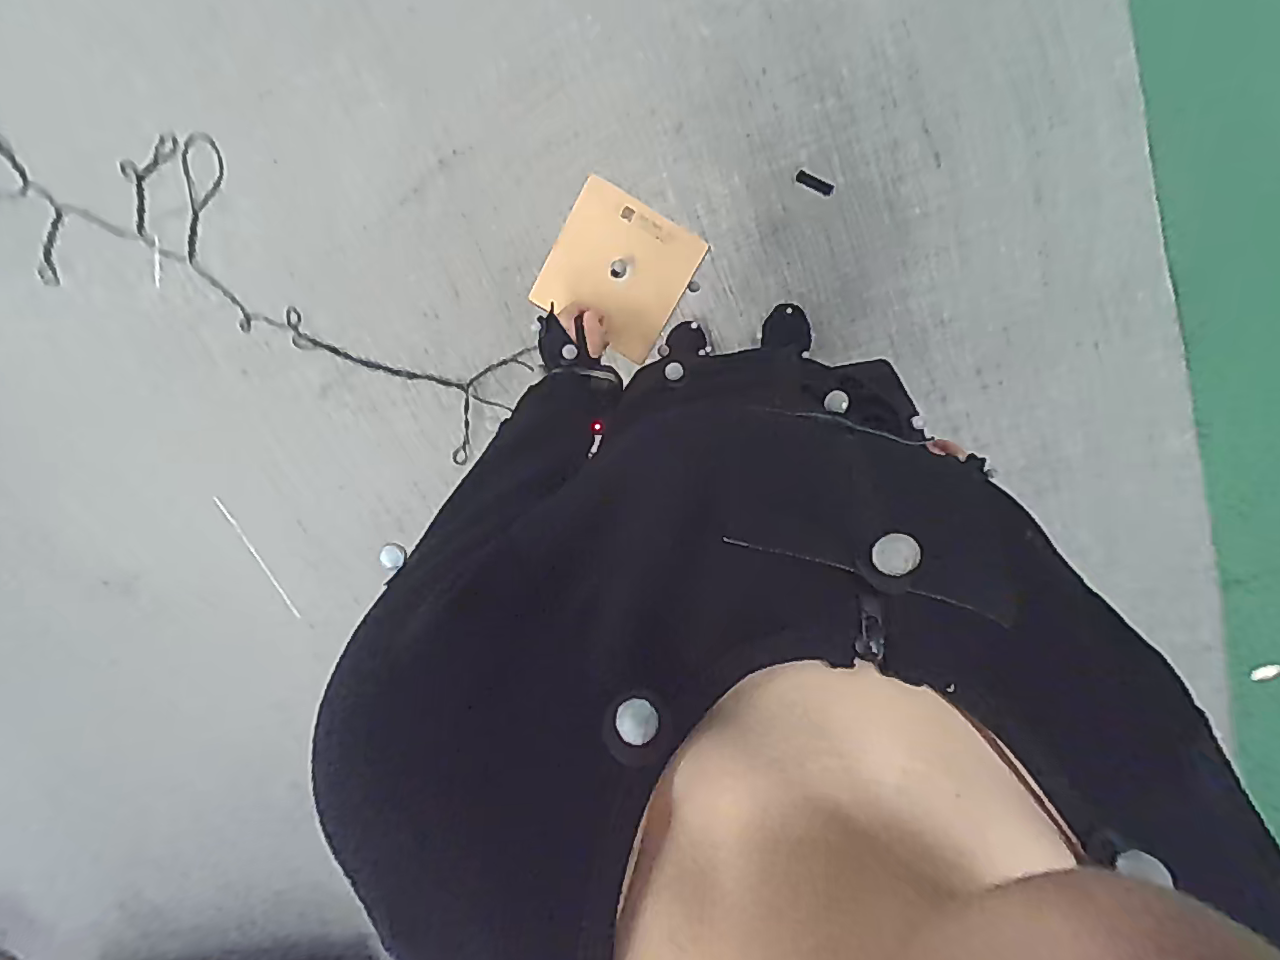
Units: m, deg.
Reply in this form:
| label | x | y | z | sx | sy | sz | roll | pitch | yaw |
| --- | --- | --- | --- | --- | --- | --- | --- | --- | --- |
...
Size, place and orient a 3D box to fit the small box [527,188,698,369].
| label | x | y | z | sx | sy | sz | roll | pitch | yaw |
| --- | --- | --- | --- | --- | --- | --- | --- | --- | --- |
| small box | -0.034 | -0.267 | 0.744 | 0.168 | 0.179 | 0.176 | 27 | 102 | -6 |
